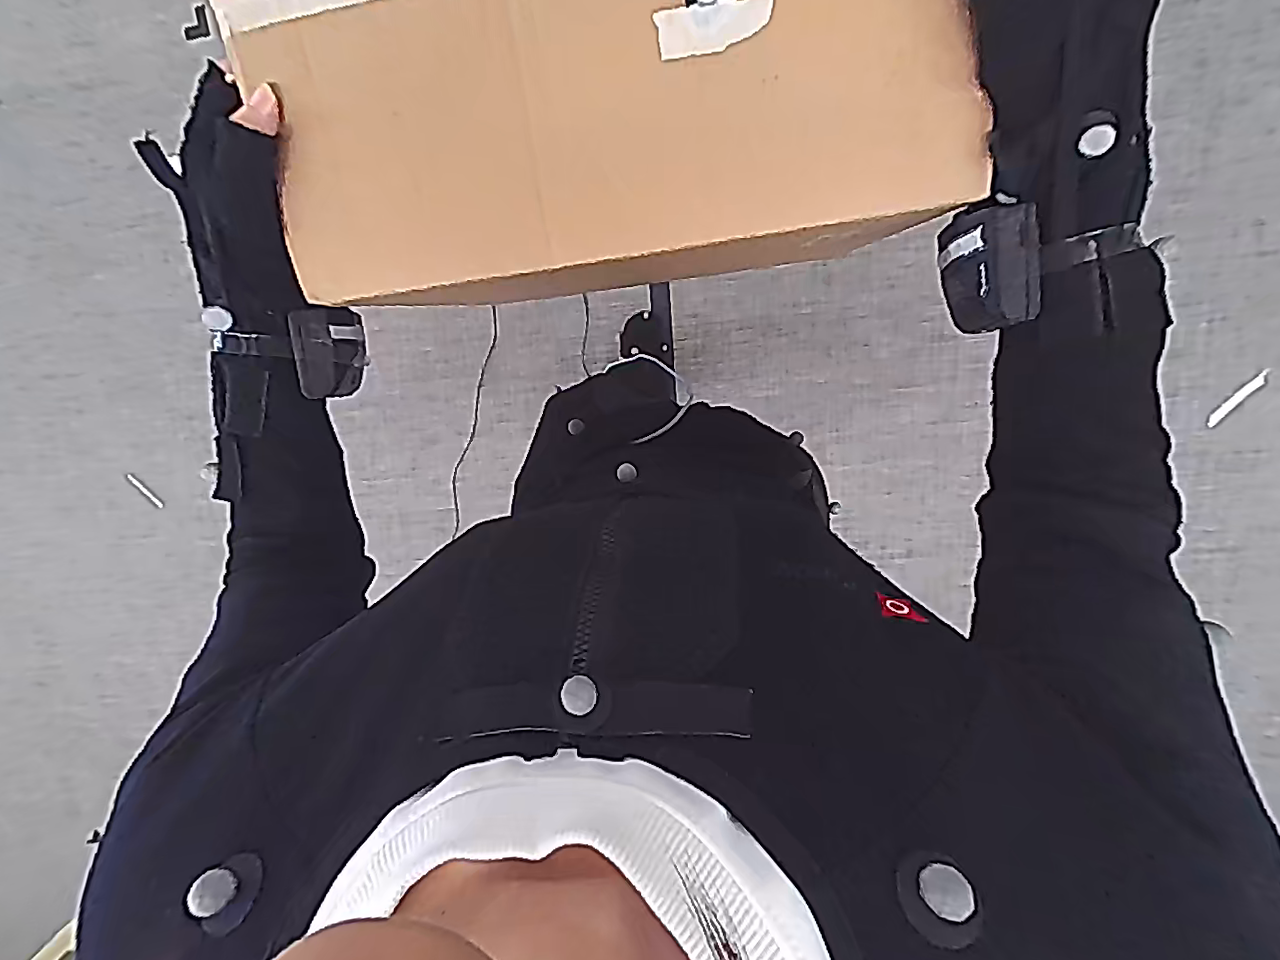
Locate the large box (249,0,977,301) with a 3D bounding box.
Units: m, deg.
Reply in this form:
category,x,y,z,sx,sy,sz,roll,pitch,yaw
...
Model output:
category,x,y,z,sx,sy,sz,roll,pitch,yaw
large box,-0.017,-0.334,0.428,0.408,0.320,0.320,-6,108,9
